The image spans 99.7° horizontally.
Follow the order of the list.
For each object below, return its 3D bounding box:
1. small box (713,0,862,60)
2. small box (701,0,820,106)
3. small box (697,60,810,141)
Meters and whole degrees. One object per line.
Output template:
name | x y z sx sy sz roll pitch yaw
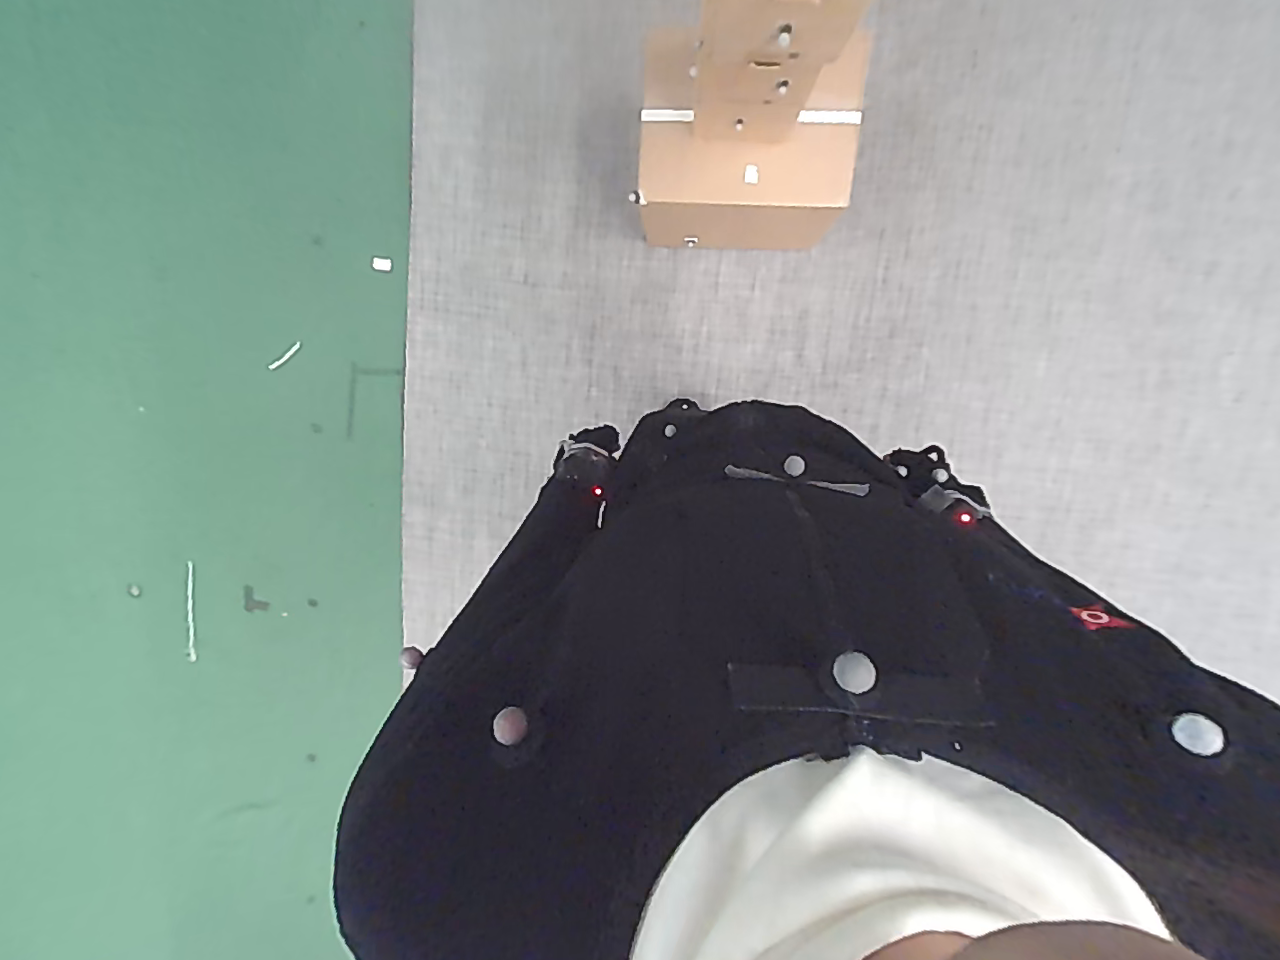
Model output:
small box | 0.172 -0.610 0.610 0.168 0.176 0.179 5 106 4
small box | 0.175 -0.659 0.765 0.168 0.176 0.179 4 104 4
small box | 0.191 -0.699 0.921 0.179 0.176 0.168 3 105 5
